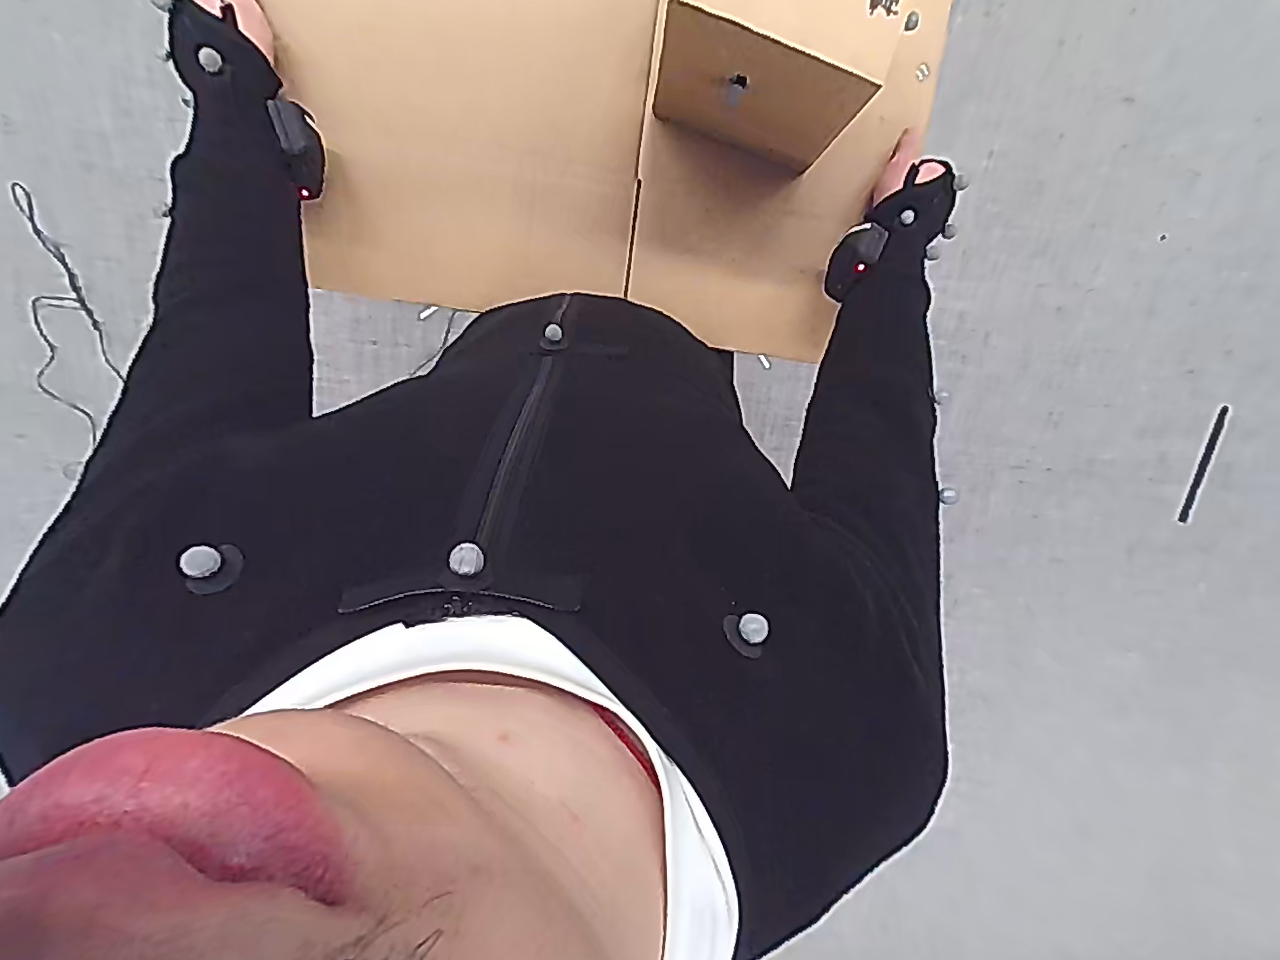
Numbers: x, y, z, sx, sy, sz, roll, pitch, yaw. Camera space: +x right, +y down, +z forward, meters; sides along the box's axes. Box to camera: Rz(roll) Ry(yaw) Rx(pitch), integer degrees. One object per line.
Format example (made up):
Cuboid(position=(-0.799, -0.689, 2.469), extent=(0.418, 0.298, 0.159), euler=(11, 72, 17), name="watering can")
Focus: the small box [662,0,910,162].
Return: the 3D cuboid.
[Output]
Cuboid(position=(0.126, -0.419, 0.481), extent=(0.179, 0.176, 0.168), euler=(17, 99, -5), name="small box")
